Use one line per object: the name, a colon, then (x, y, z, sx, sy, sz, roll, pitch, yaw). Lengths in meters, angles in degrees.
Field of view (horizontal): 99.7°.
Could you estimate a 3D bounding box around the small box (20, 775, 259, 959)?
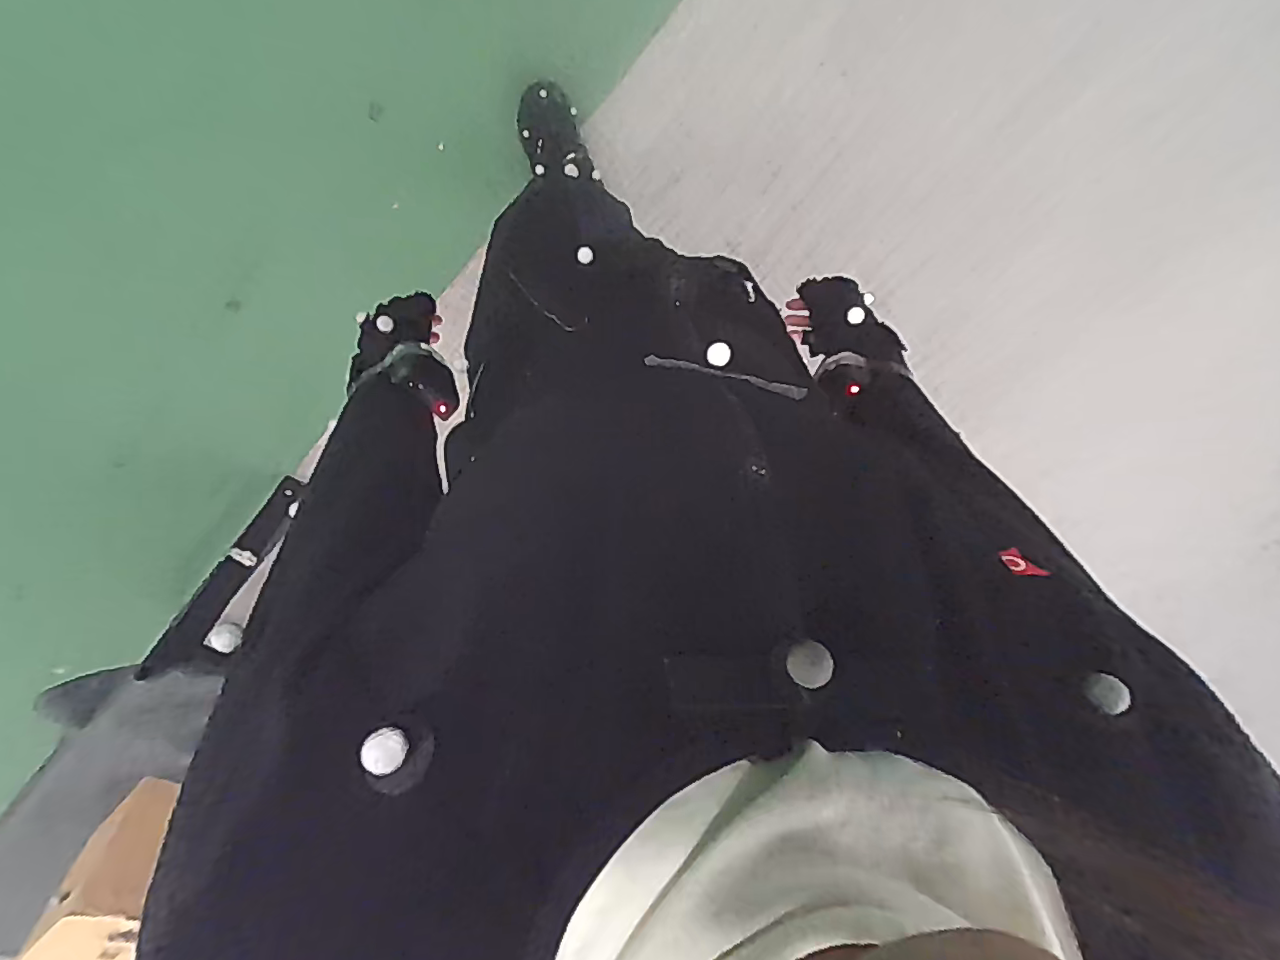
small box: (-0.683, 0.553, 0.765, 0.179, 0.176, 0.168, -42, 120, 15)
